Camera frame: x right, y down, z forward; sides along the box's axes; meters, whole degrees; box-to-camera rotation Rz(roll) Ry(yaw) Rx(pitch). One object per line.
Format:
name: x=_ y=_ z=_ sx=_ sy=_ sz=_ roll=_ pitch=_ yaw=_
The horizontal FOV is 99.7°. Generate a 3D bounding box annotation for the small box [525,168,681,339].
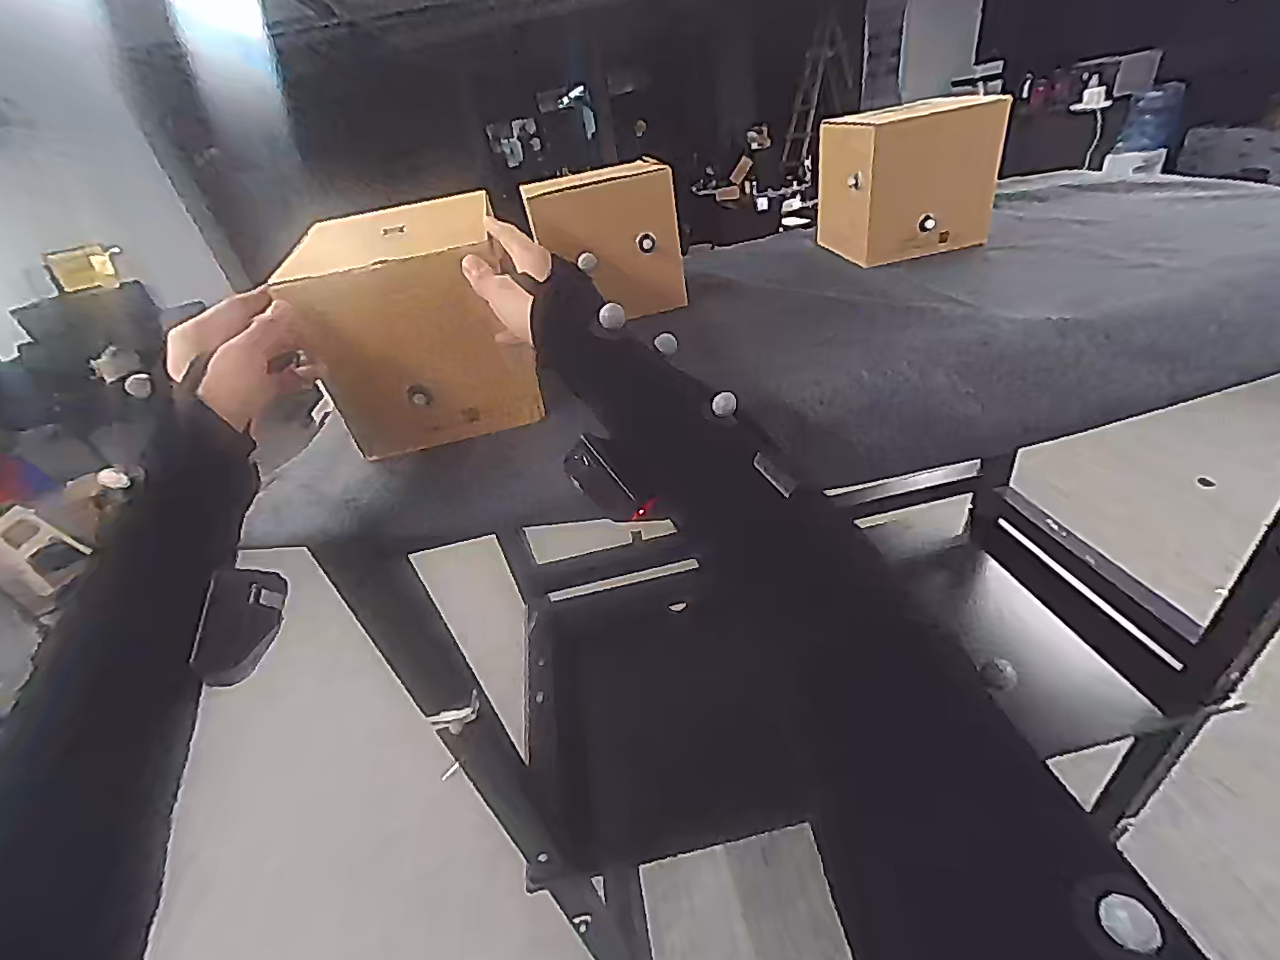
small box: x=-0.048 y=-0.310 z=0.734 sx=0.179 sy=0.176 sz=0.168 roll=-14 pitch=34 yaw=-6

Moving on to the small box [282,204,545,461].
small box: x=-0.195 y=-0.144 z=0.519 sx=0.168 sy=0.176 sz=0.179 roll=-14 pitch=40 yaw=-6
